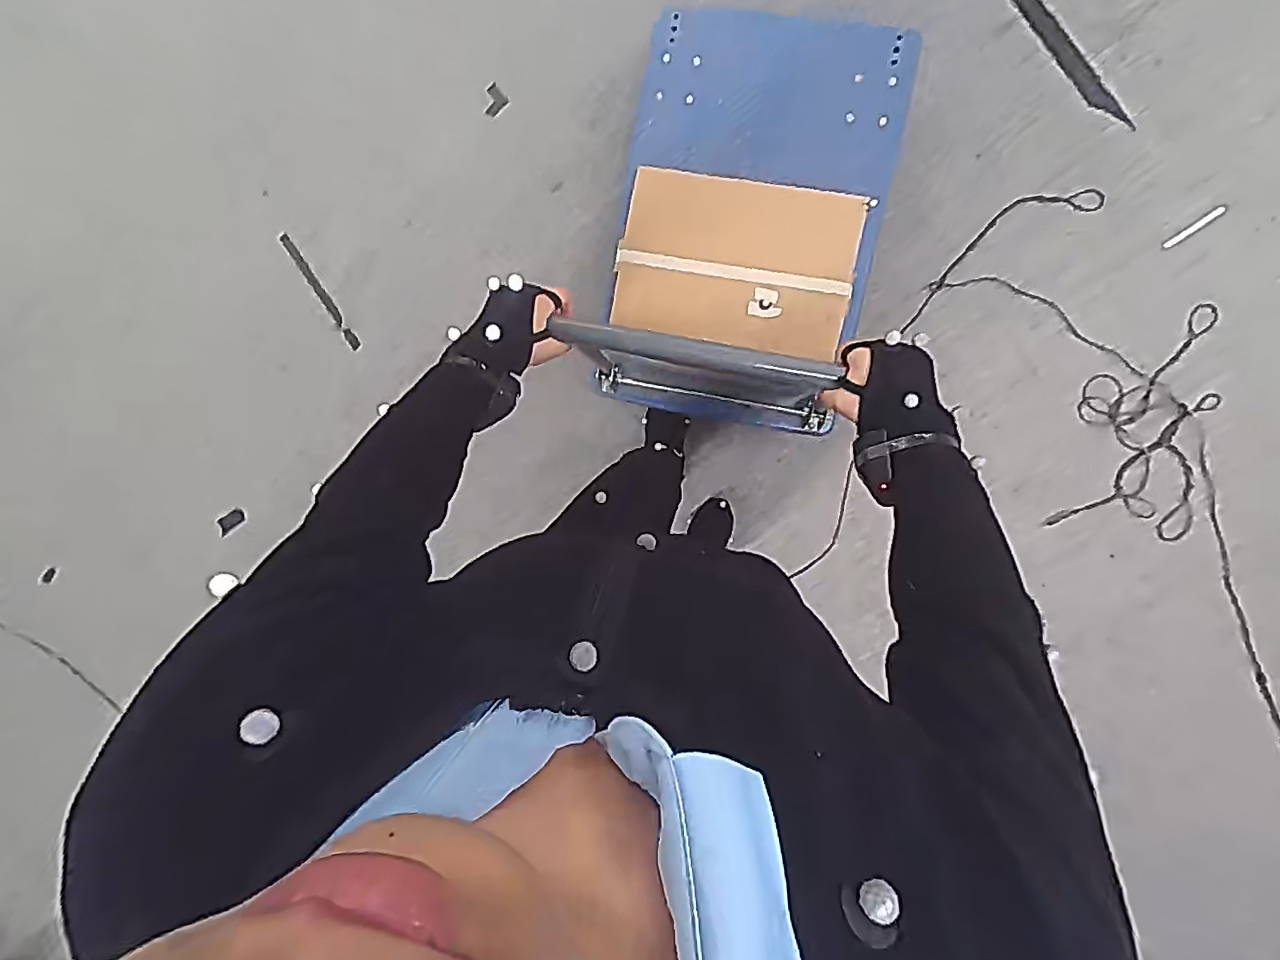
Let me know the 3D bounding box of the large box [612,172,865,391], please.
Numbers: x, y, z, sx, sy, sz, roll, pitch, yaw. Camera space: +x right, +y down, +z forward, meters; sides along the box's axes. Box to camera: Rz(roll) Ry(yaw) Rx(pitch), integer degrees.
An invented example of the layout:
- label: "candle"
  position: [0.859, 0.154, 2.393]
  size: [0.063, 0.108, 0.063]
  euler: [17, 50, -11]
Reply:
- label: "large box"
  position: [0.182, -0.375, 1.101]
  size: [0.408, 0.320, 0.320]
  euler: [11, 97, 6]
